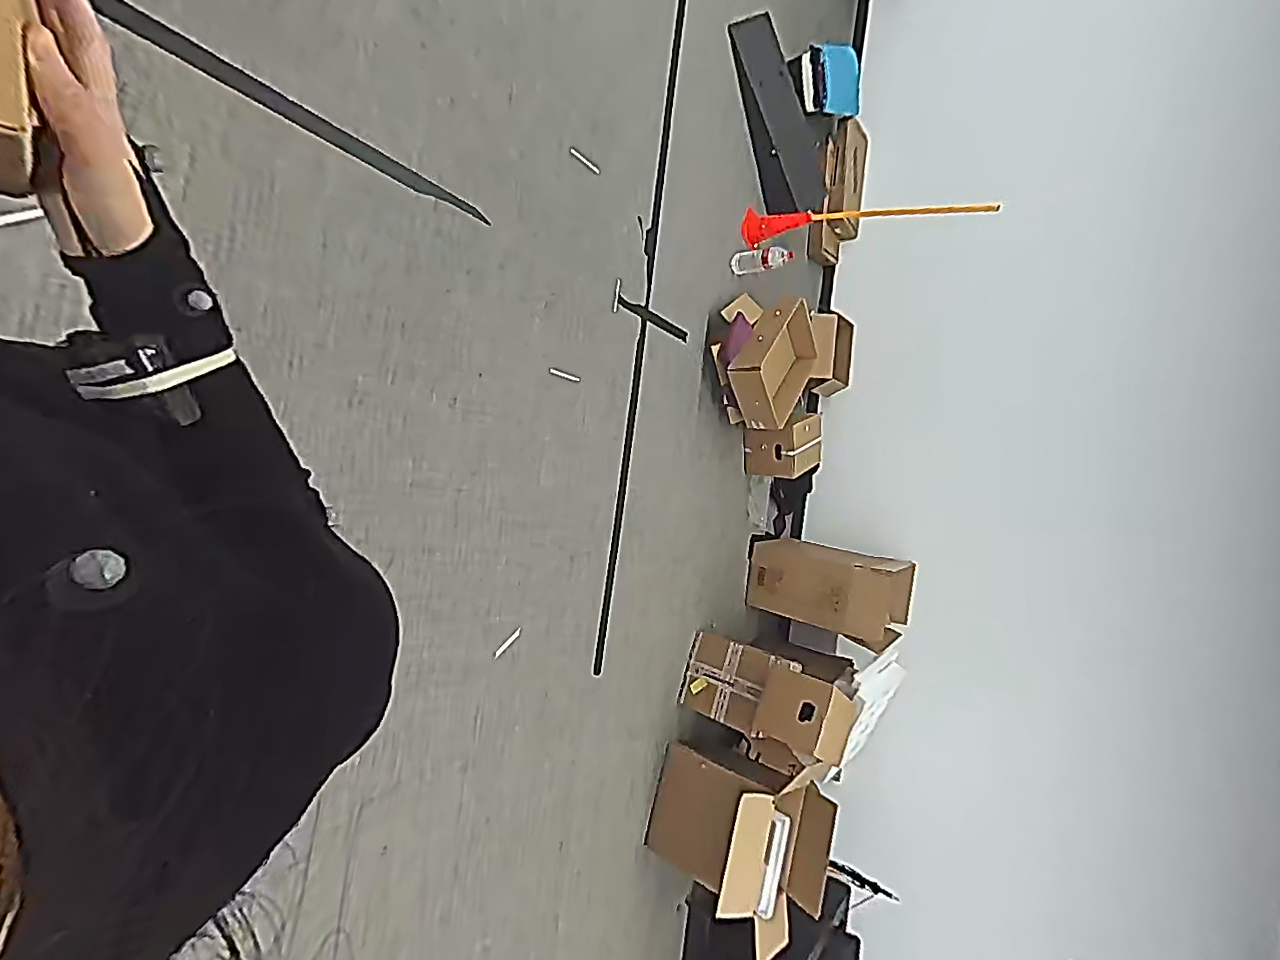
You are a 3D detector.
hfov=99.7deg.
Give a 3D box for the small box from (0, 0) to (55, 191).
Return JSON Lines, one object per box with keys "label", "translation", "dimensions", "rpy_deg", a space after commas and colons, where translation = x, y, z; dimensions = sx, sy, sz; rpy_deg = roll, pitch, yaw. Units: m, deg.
{"label": "small box", "translation": [-0.345, -0.235, 0.200], "dimensions": [0.168, 0.176, 0.179], "rpy_deg": [-3, 104, -48]}
